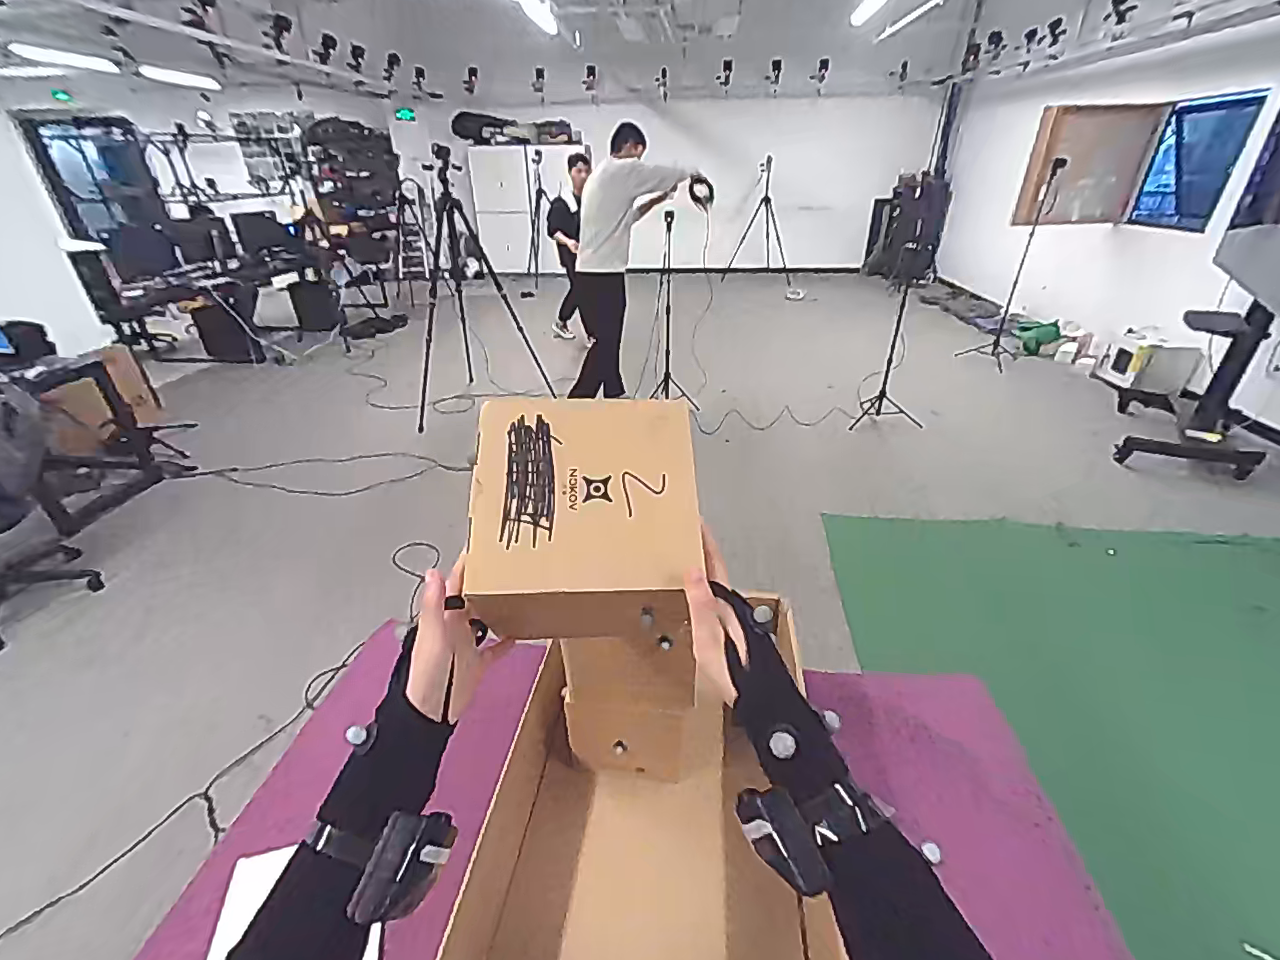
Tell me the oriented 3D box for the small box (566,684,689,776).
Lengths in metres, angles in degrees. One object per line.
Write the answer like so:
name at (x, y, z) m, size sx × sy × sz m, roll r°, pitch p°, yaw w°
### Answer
small box at (-0.007, 0.330, 0.845) m, size 0.168 × 0.176 × 0.179 m, roll 3°, pitch 32°, yaw 7°

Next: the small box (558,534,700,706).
small box at (-0.005, 0.194, 0.758) m, size 0.179 × 0.176 × 0.168 m, roll 2°, pitch 32°, yaw 5°
